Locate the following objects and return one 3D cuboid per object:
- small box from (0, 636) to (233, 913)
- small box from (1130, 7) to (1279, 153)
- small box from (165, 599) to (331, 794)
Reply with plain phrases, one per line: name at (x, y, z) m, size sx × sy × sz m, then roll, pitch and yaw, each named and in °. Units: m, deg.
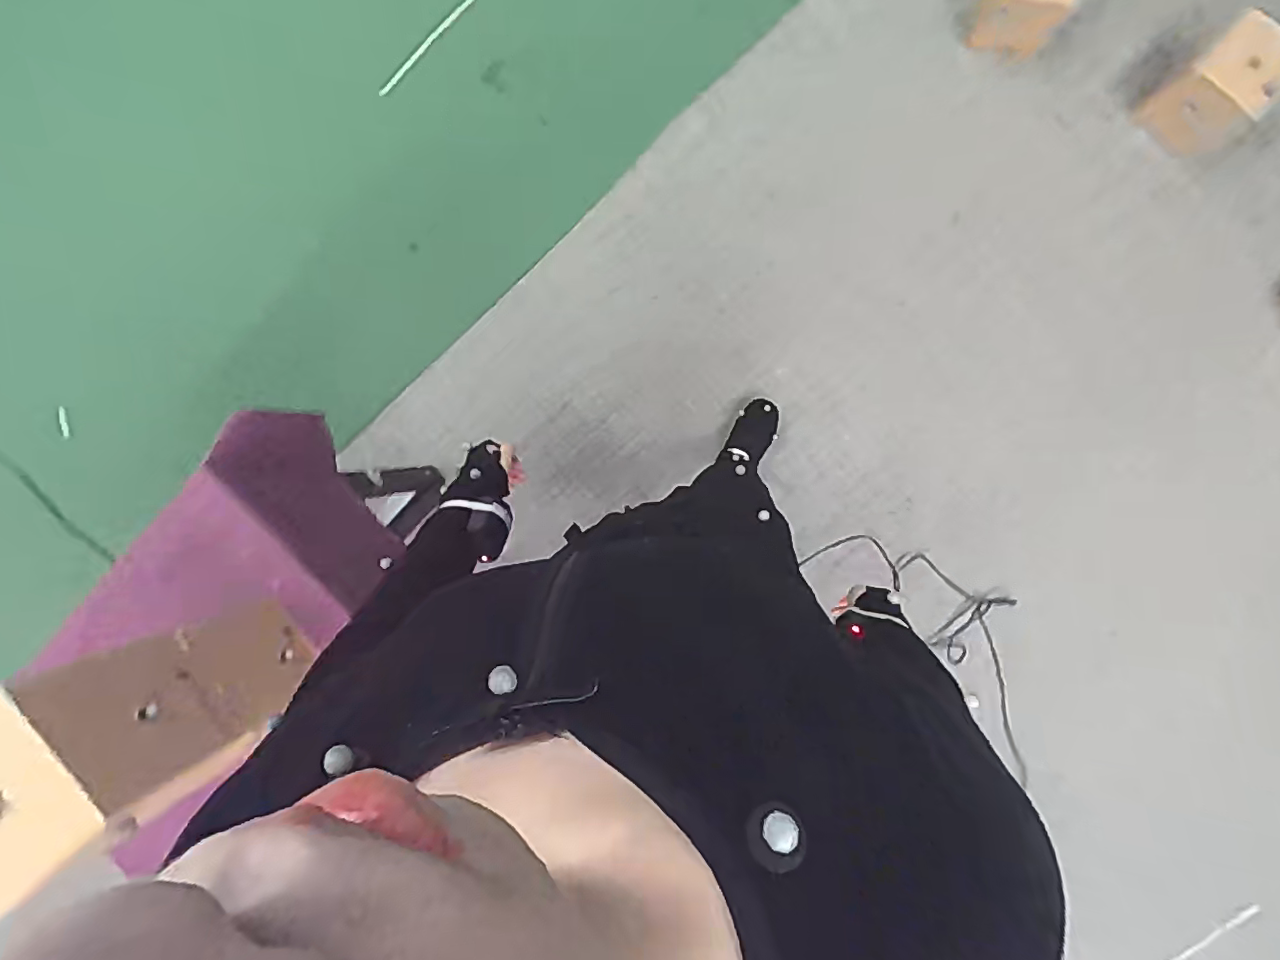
small box at (-0.606, 0.304, 0.598) m, size 0.179 × 0.176 × 0.168 m, roll -41°, pitch 88°, yaw 6°
small box at (1.302, -0.901, 1.238) m, size 0.179 × 0.176 × 0.168 m, roll 42°, pitch 96°, yaw 3°
small box at (-0.589, 0.297, 0.762) m, size 0.179 × 0.176 × 0.168 m, roll -40°, pitch 89°, yaw 6°
